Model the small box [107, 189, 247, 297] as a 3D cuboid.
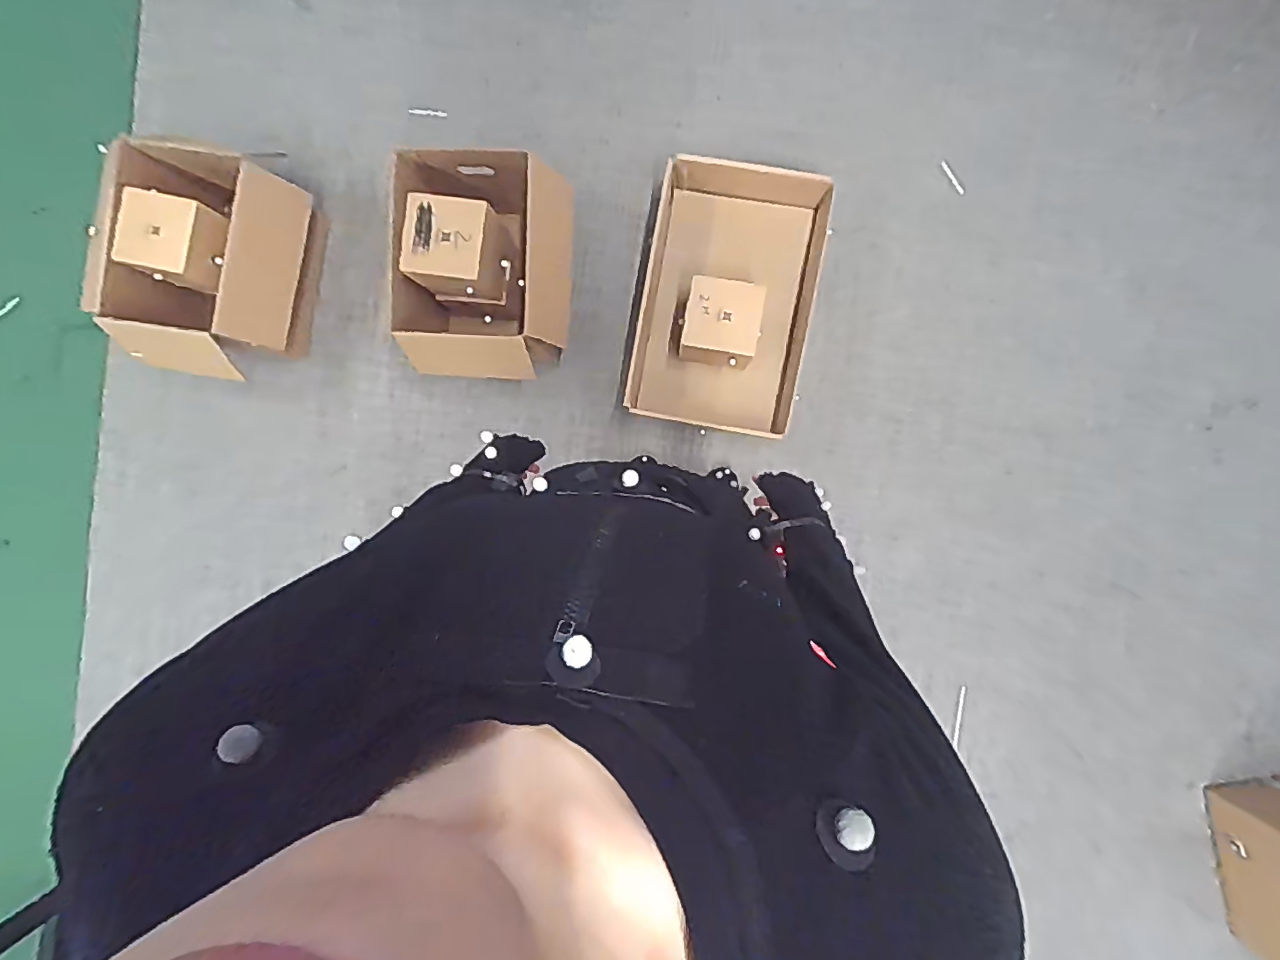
[{"bbox_3d":[-1.074,-0.545,1.267,0.179,0.176,0.168,12,91,2],"label":"small box"}]
